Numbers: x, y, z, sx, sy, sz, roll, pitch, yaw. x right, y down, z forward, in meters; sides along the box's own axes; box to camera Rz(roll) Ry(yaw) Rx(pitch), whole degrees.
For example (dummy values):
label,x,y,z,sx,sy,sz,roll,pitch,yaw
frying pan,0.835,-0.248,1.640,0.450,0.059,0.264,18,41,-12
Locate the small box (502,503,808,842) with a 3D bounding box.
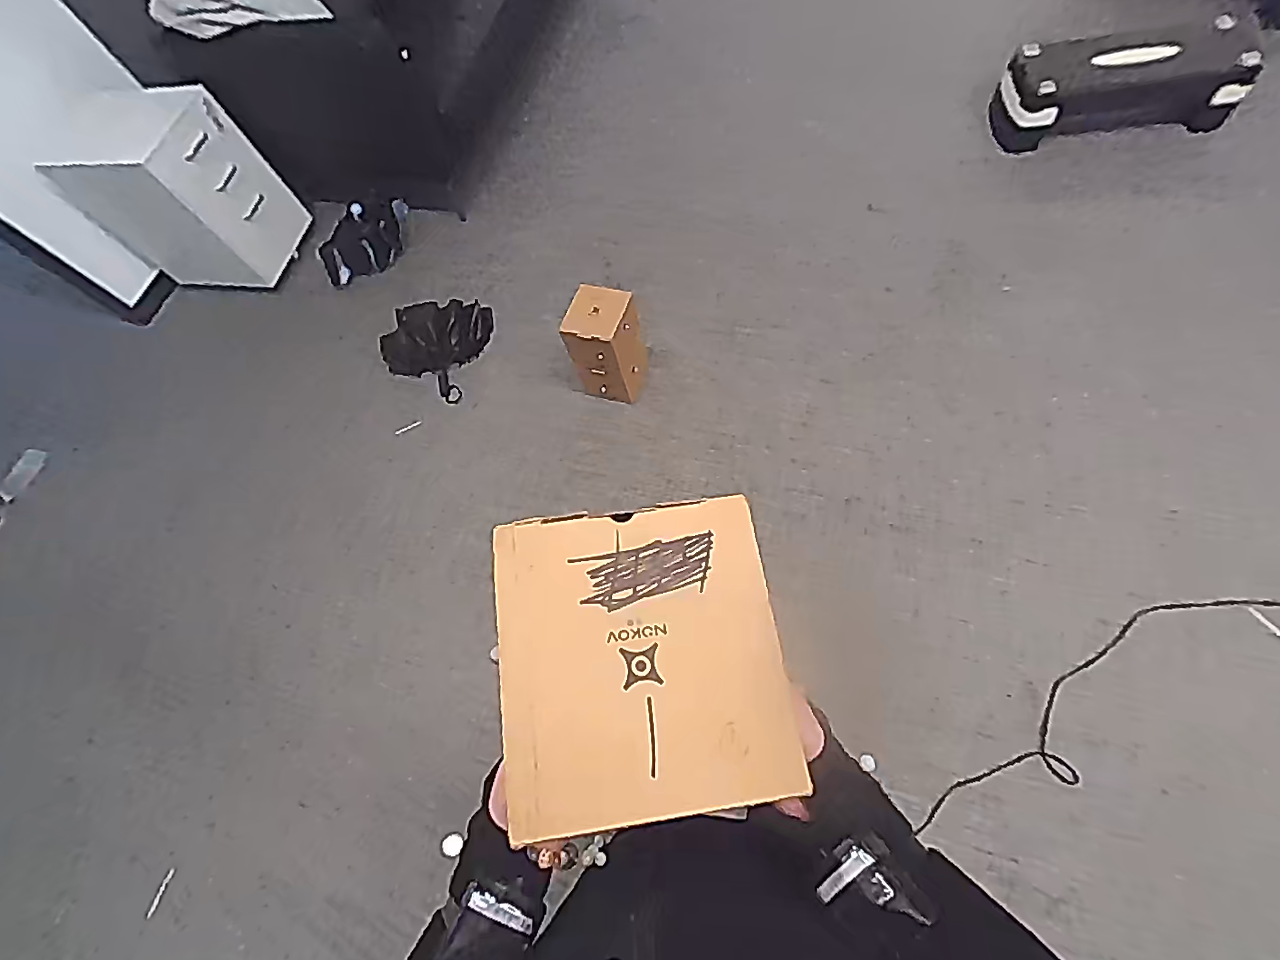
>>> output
label,x,y,z,sx,sy,sz,roll,pitch,yaw
small box,-0.001,0.132,0.395,0.168,0.176,0.179,-7,70,-4
